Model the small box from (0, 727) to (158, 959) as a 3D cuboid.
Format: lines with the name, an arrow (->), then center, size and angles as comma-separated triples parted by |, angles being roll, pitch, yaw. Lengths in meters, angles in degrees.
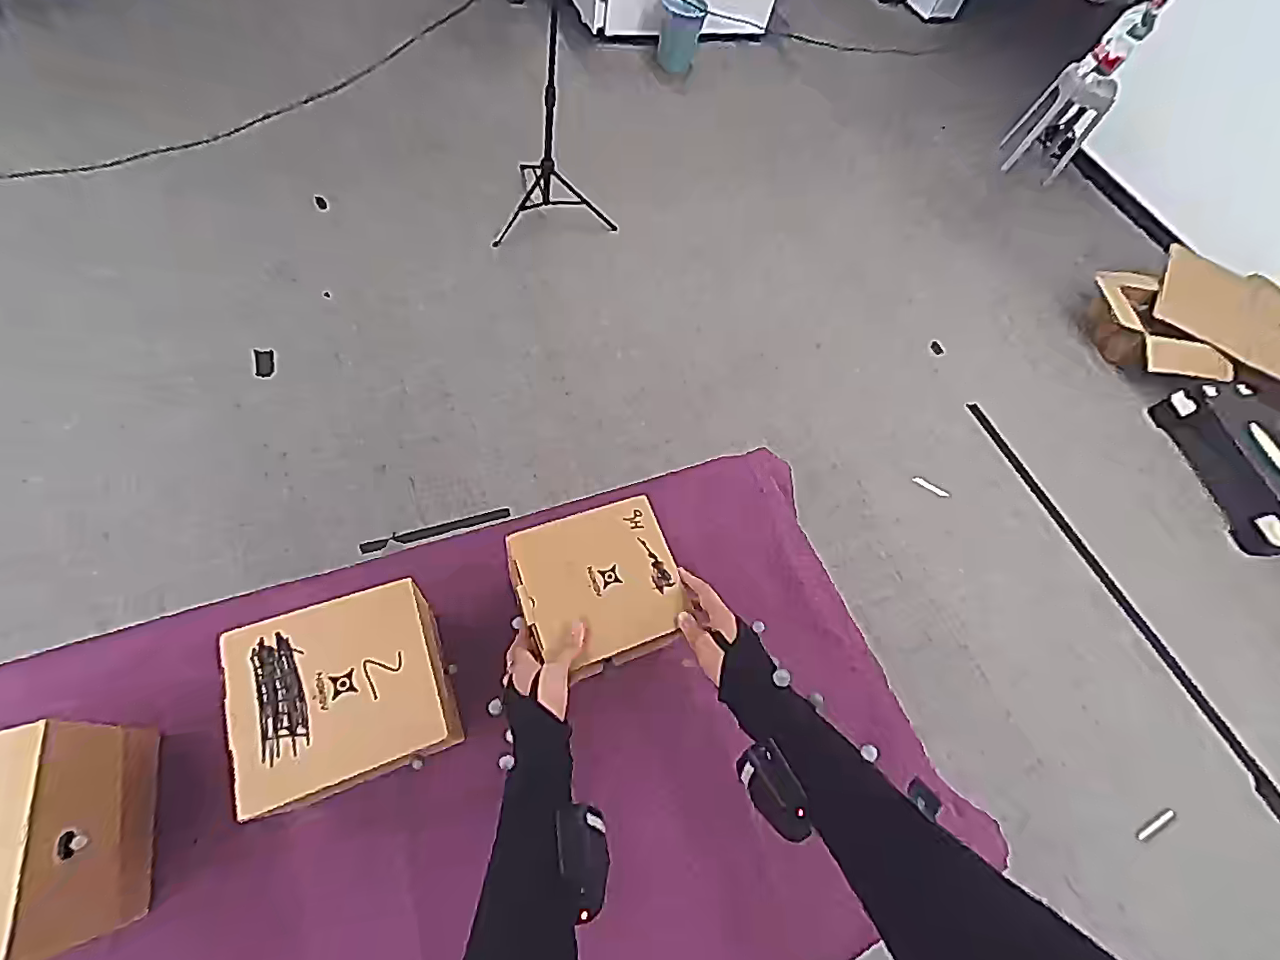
small box -> -0.565, 0.330, 0.468 | 0.168, 0.176, 0.179 | -10, 65, -17
